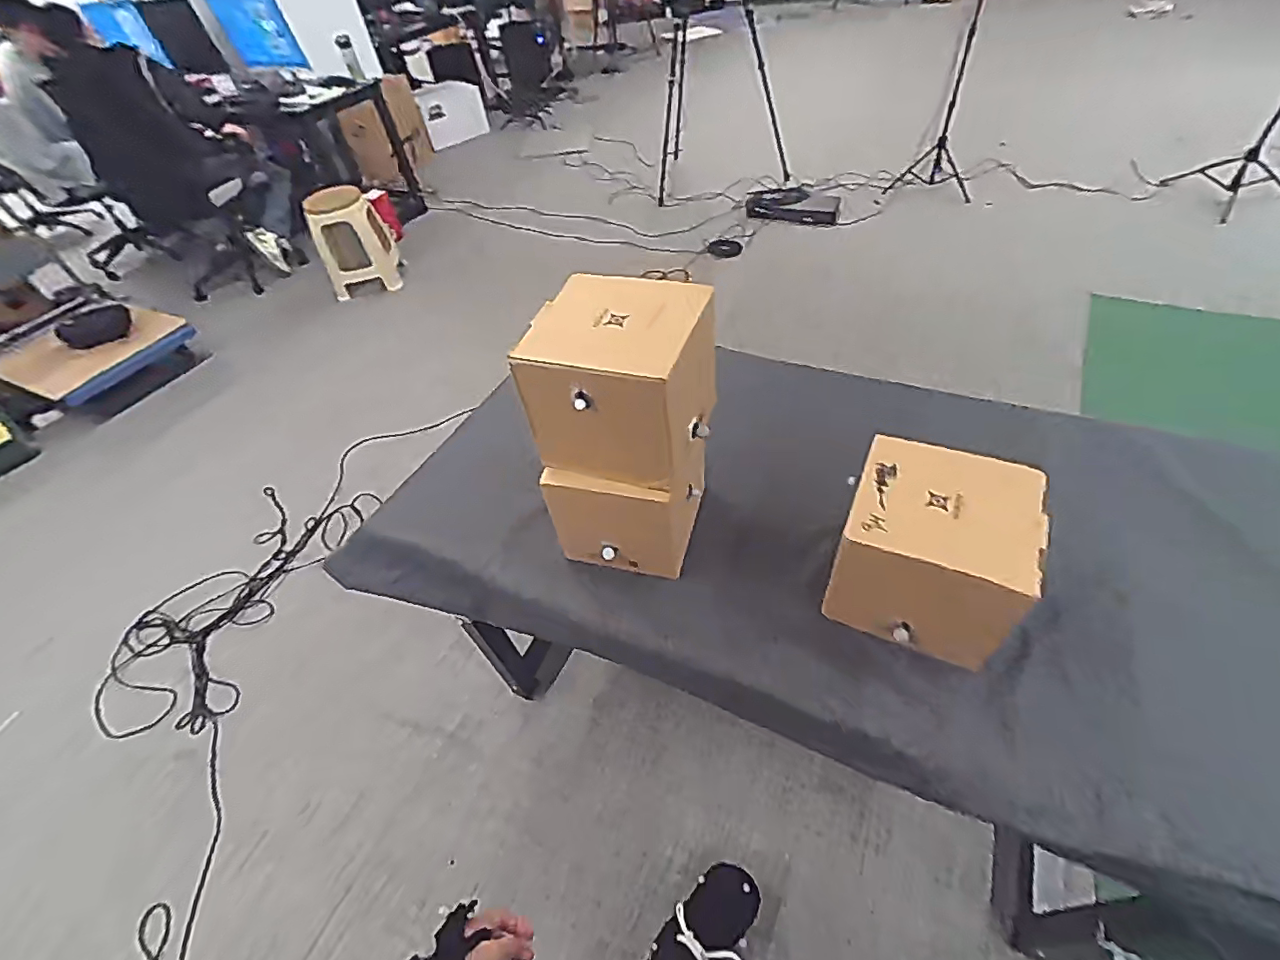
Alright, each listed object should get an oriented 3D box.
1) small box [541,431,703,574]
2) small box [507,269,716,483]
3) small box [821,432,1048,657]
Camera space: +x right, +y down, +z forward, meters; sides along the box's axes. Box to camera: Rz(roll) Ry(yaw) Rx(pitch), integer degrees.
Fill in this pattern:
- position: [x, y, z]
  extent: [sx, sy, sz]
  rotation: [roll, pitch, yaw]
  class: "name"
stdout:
- position: [-0.012, -0.001, 0.734]
  extent: [0.168, 0.176, 0.179]
  rotation: [9, 51, 15]
  class: "small box"
- position: [-0.019, -0.117, 0.620]
  extent: [0.179, 0.176, 0.168]
  rotation: [13, 53, 17]
  class: "small box"
- position: [0.325, 0.077, 0.619]
  extent: [0.179, 0.176, 0.168]
  rotation: [18, 54, 22]
  class: "small box"
